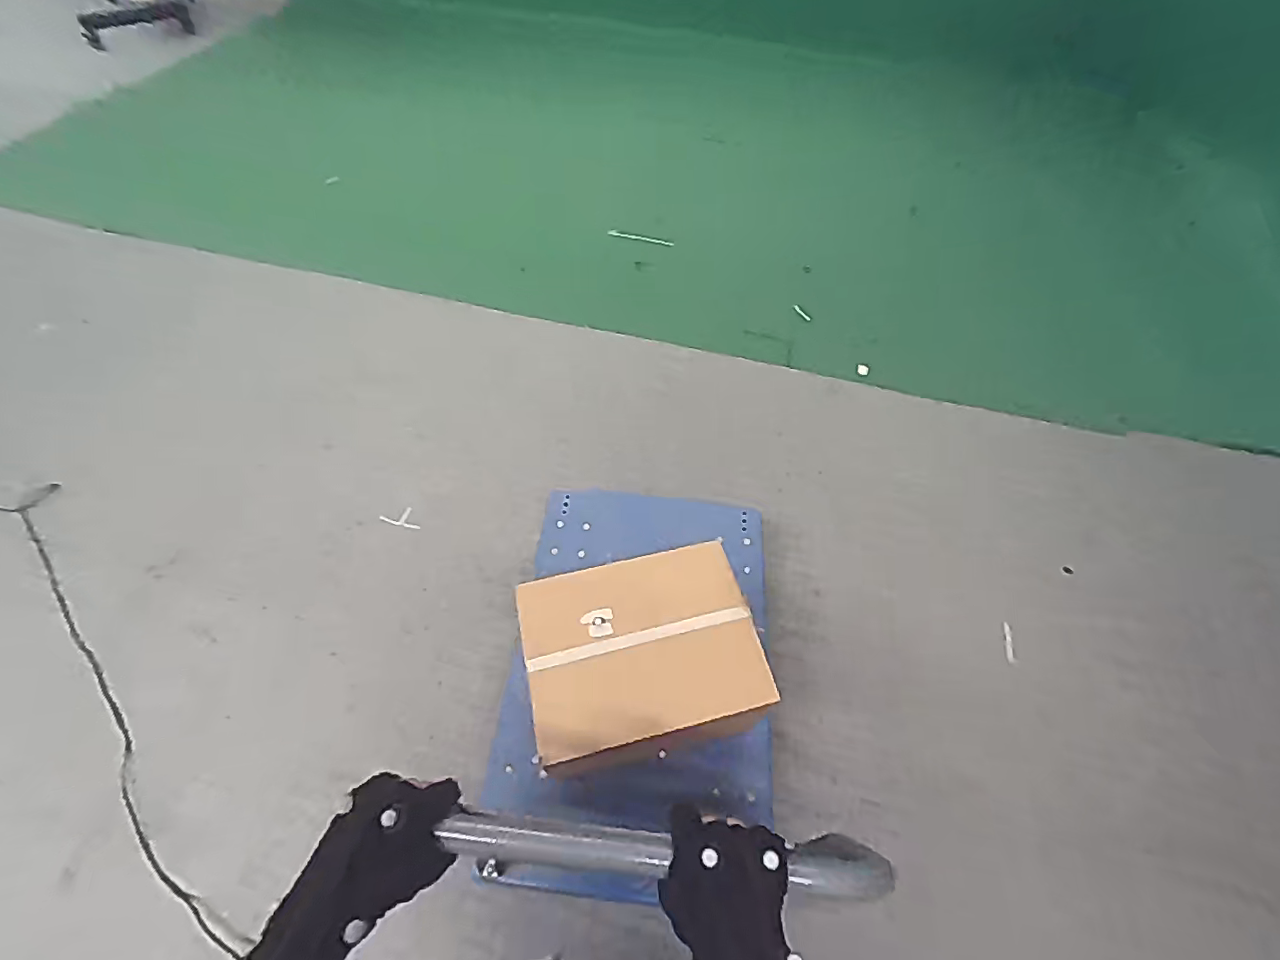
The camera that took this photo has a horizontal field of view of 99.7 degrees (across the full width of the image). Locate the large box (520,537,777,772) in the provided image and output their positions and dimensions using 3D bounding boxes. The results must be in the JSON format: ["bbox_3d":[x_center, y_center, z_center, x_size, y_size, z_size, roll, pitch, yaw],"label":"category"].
[{"bbox_3d":[0.004,0.356,1.084,0.408,0.320,0.320,-12,57,-8],"label":"large box"}]
